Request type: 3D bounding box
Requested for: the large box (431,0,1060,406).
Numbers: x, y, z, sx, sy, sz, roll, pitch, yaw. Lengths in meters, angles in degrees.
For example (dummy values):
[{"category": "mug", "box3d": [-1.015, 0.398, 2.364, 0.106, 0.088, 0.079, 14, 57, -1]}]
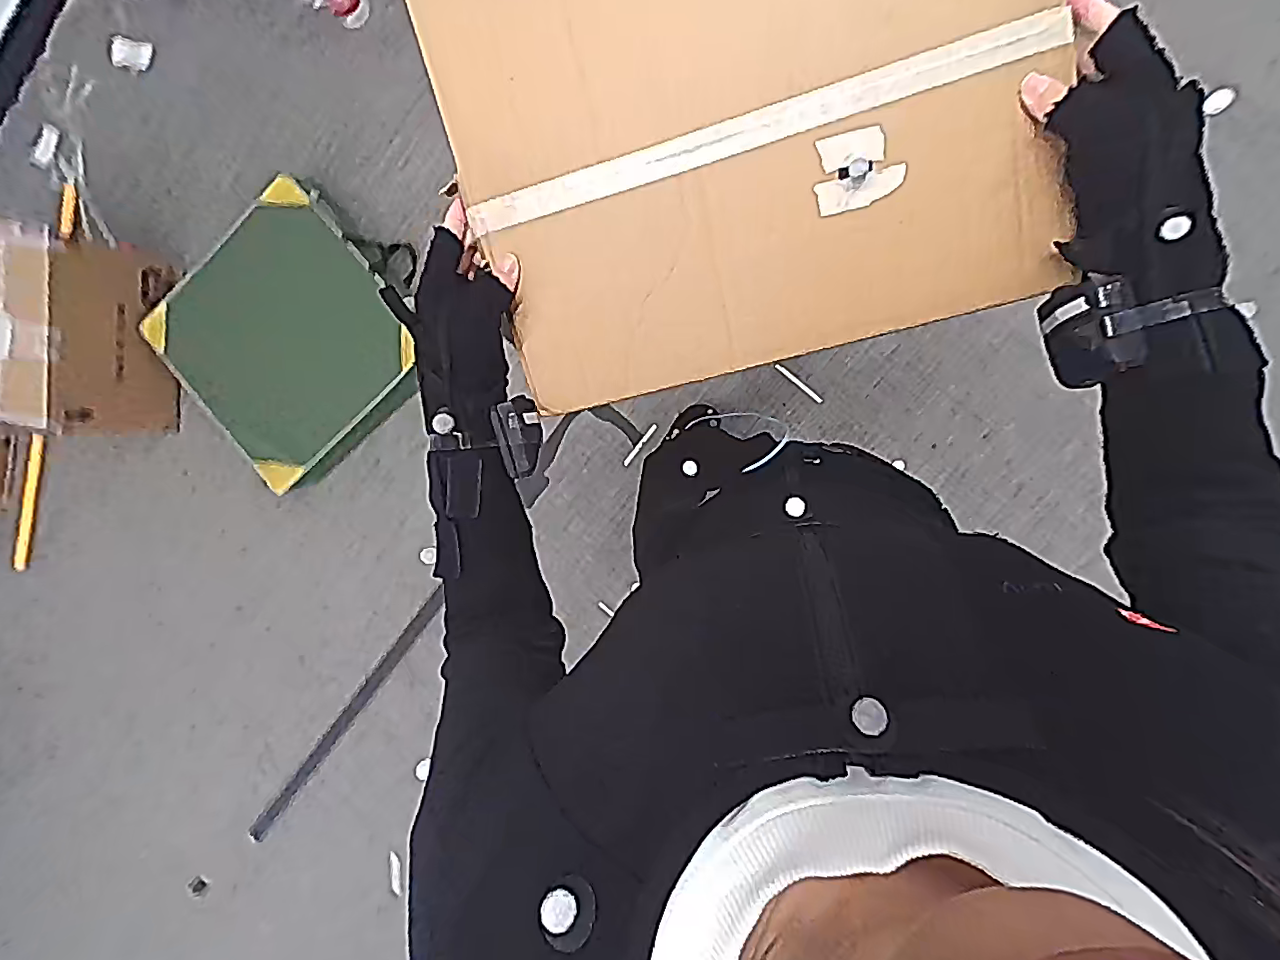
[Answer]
[{"category": "large box", "box3d": [0.091, -0.288, 0.529, 0.408, 0.320, 0.320, -12, 106, 10]}]
